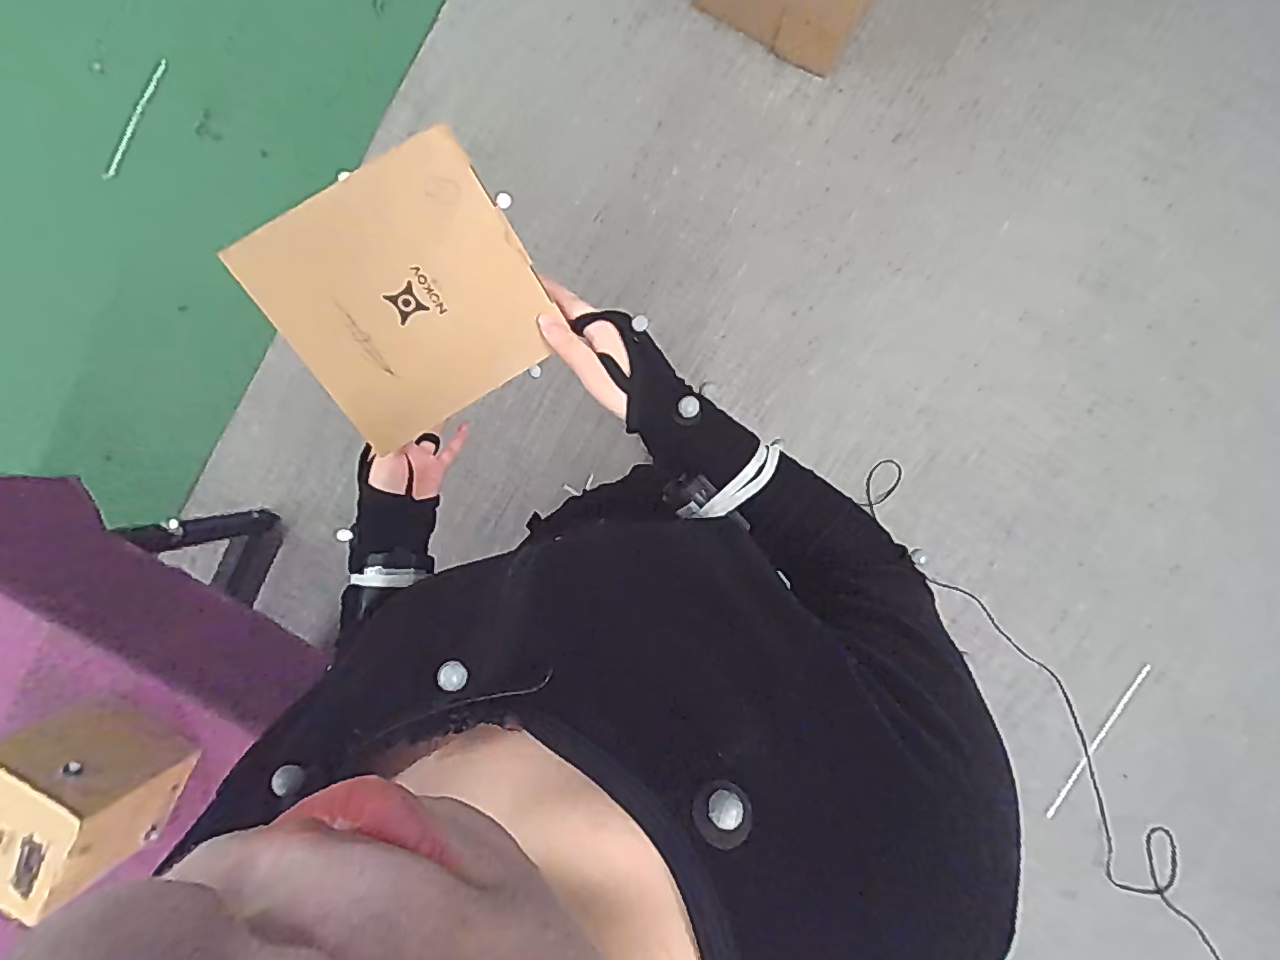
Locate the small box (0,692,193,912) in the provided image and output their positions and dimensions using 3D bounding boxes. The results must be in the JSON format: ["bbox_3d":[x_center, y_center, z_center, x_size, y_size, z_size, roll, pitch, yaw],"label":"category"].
[{"bbox_3d":[-0.795,0.433,0.761,0.179,0.176,0.168,30,95,3],"label":"small box"}]

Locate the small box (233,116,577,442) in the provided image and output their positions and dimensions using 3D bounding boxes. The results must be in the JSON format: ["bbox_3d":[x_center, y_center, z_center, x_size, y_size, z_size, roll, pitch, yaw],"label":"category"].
[{"bbox_3d":[-0.174,-0.159,0.458,0.179,0.176,0.168,-30,110,-1],"label":"small box"}]

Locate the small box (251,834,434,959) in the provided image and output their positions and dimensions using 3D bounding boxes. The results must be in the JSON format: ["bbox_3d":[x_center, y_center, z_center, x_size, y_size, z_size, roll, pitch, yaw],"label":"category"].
[{"bbox_3d":[-0.417,0.650,0.746,0.168,0.176,0.179,30,96,1],"label":"small box"}]
